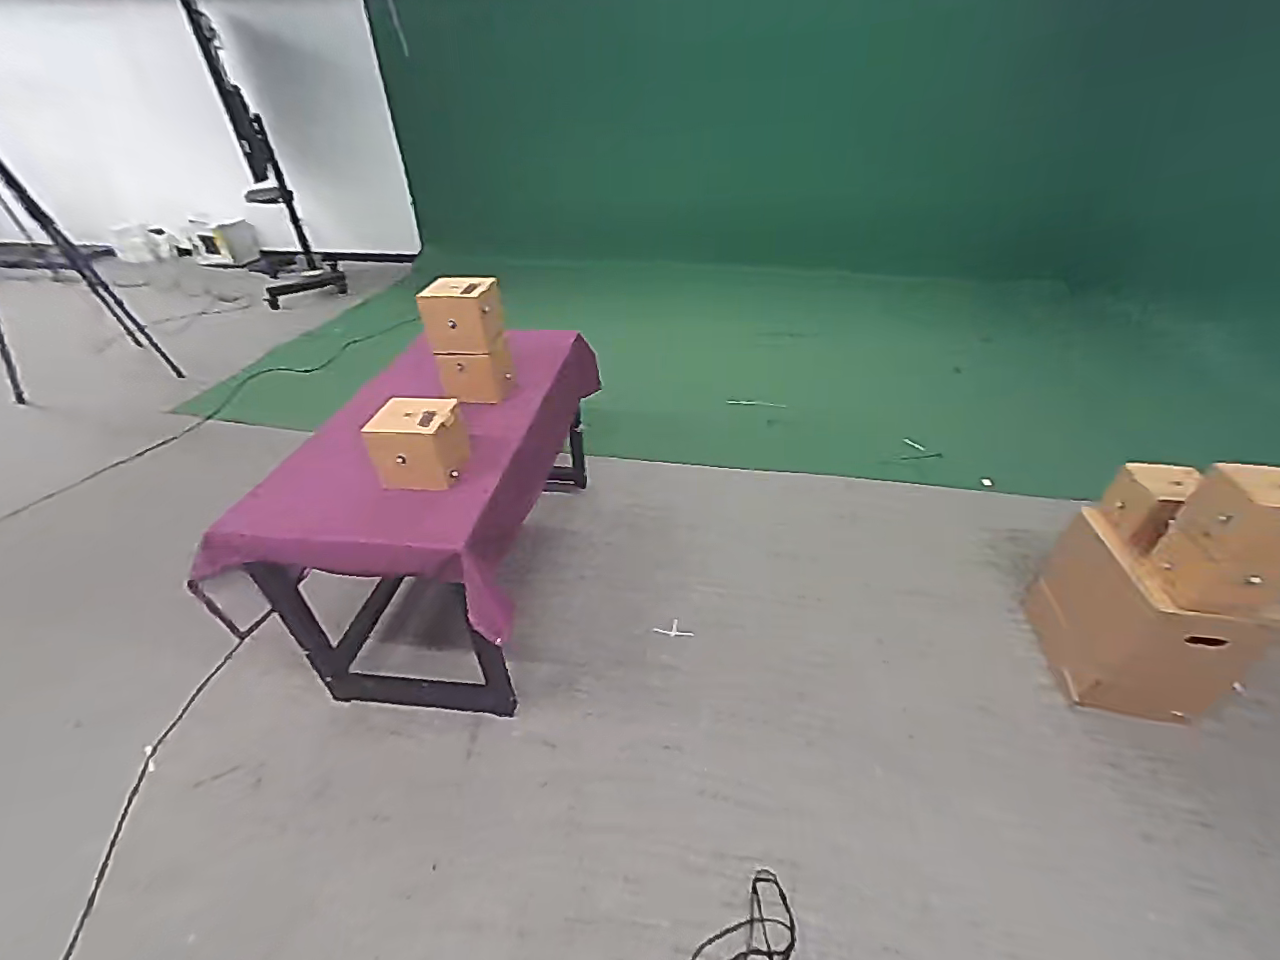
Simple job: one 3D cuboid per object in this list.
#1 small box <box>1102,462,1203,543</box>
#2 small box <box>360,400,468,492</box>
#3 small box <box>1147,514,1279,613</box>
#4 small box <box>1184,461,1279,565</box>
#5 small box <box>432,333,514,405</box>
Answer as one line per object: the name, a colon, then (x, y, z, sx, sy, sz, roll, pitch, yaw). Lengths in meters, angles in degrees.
small box: (1.451, 0.067, 1.517, 0.179, 0.176, 0.168, 4, 39, 9)
small box: (-0.546, -0.082, 1.339, 0.179, 0.176, 0.168, 1, 37, 6)
small box: (1.429, 0.207, 1.334, 0.179, 0.176, 0.168, 4, 37, 8)
small box: (1.414, 0.076, 1.237, 0.179, 0.176, 0.168, 6, 37, 9)
small box: (-0.512, -0.345, 1.683, 0.179, 0.176, 0.168, 4, 38, 8)
